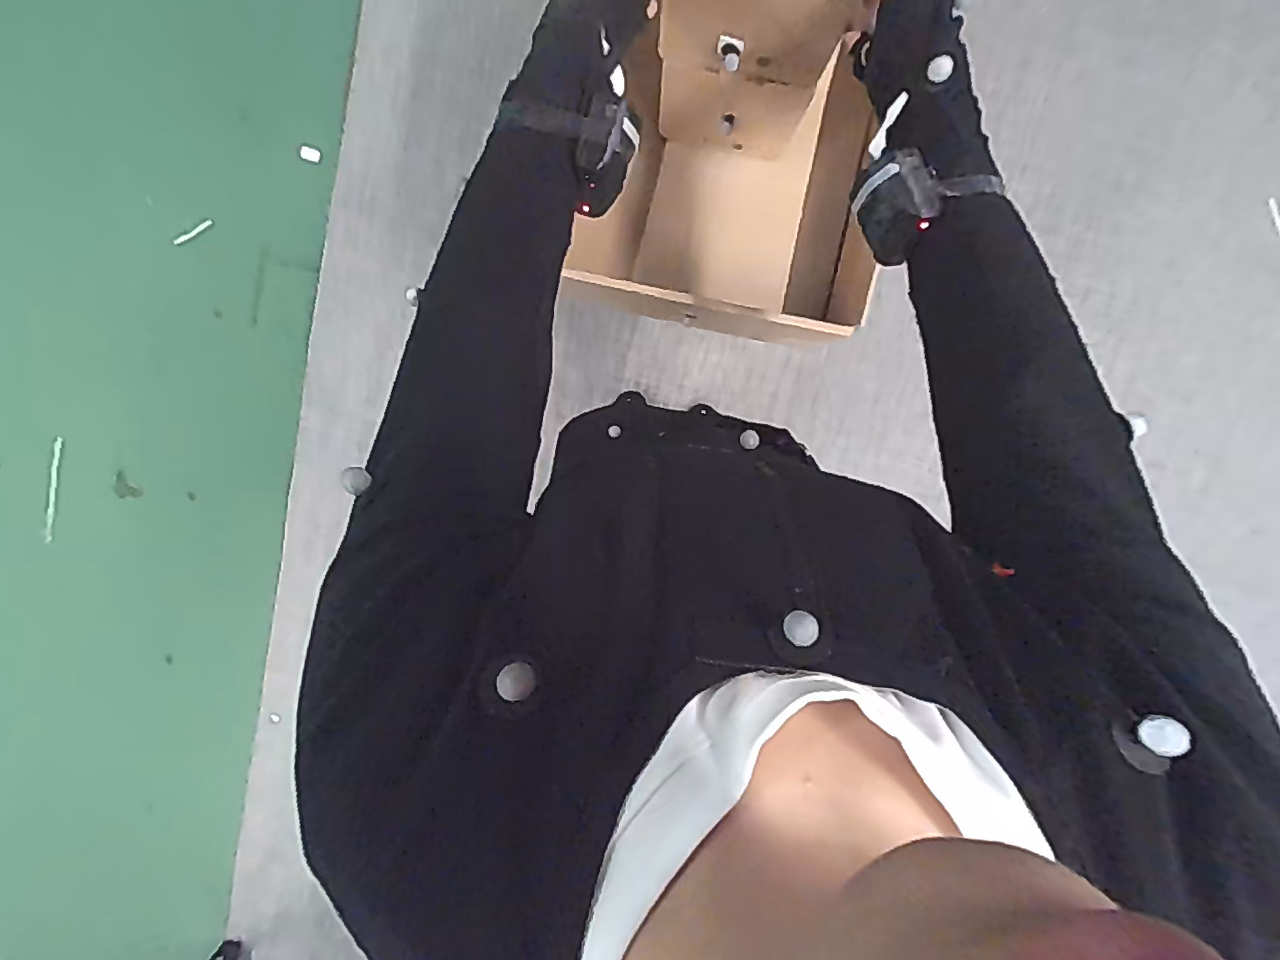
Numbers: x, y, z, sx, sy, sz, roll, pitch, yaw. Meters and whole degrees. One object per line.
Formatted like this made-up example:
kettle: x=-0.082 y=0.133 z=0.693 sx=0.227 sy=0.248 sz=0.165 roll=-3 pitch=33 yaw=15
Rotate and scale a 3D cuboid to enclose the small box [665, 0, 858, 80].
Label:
small box: x=0.114 y=-0.494 z=0.460 sx=0.168 sy=0.176 sz=0.179 roll=10 pitch=99 yaw=0
